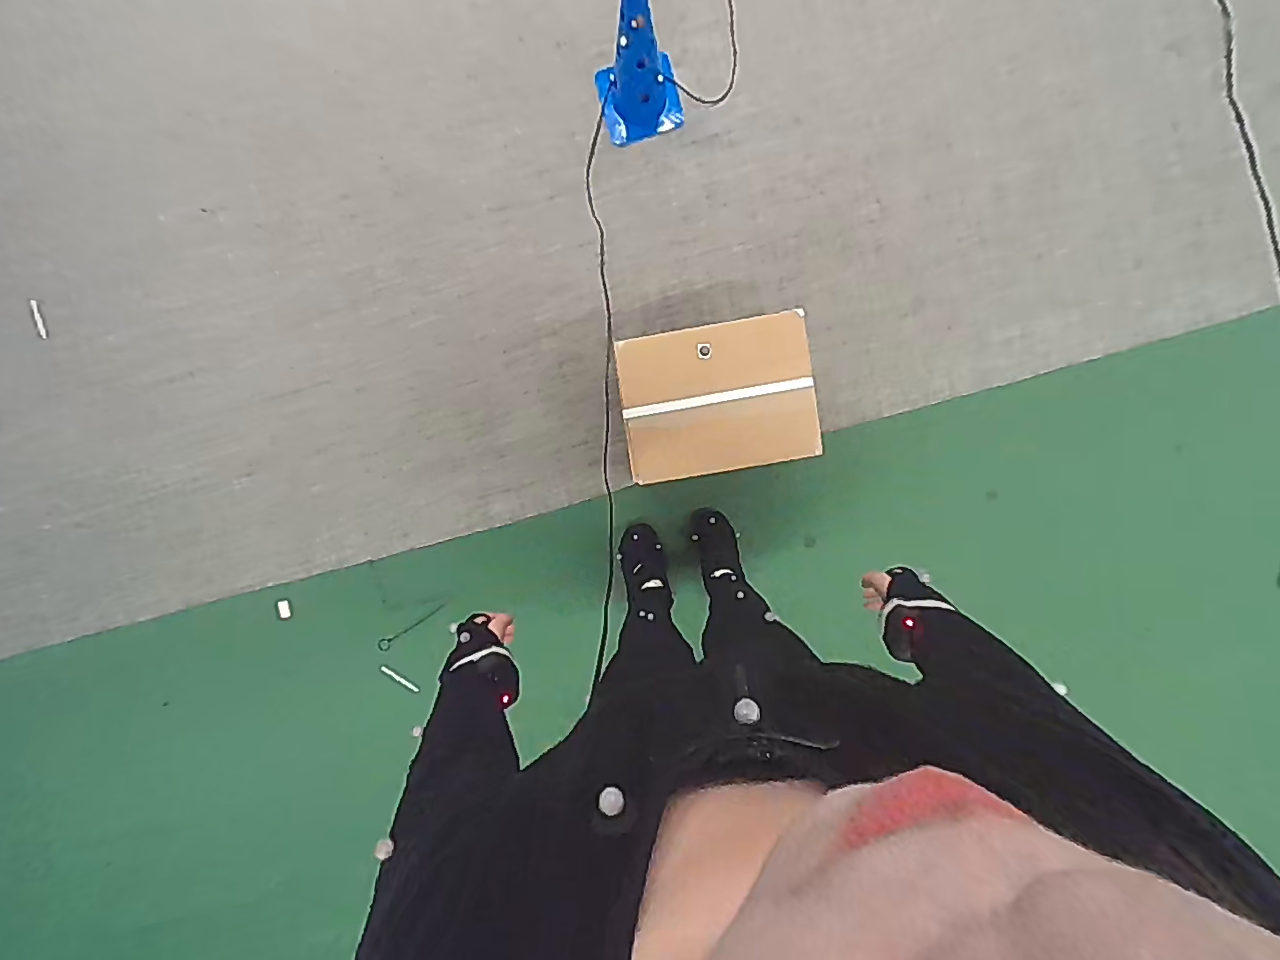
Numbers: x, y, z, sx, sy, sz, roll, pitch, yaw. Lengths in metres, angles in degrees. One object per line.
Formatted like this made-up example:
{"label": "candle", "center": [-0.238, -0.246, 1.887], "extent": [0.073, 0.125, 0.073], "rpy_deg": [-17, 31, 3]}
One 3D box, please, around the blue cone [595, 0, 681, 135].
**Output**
{"label": "blue cone", "center": [-0.012, -0.985, 1.217], "extent": [0.193, 0.380, 0.192], "rpy_deg": [-18, 92, 4]}
